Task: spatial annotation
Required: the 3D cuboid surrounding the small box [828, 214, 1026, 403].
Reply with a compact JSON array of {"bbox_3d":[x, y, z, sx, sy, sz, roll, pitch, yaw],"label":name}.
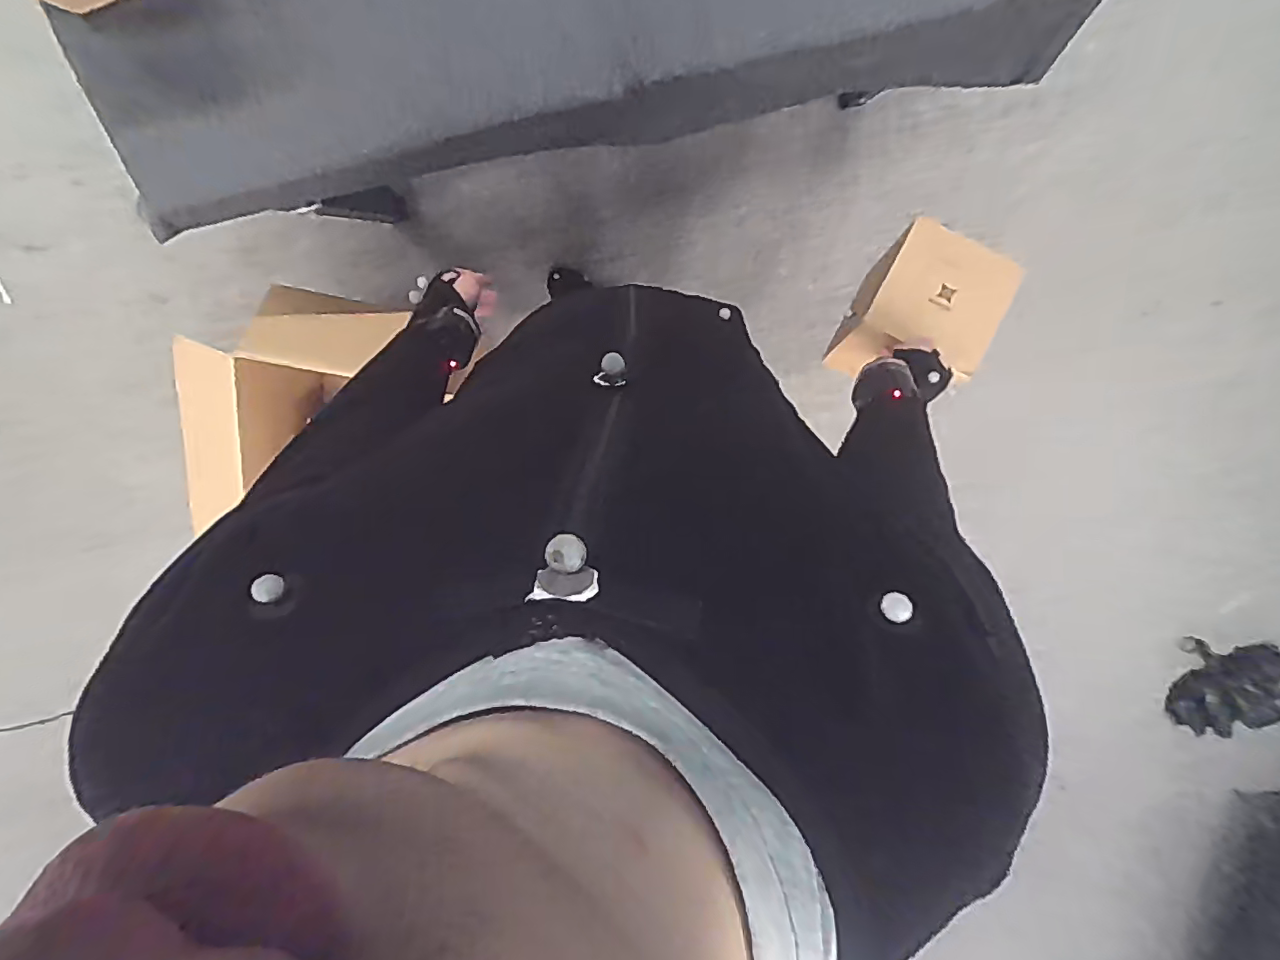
[{"bbox_3d":[0.402,-0.236,0.793,0.168,0.176,0.179,29,84,1],"label":"small box"}]
